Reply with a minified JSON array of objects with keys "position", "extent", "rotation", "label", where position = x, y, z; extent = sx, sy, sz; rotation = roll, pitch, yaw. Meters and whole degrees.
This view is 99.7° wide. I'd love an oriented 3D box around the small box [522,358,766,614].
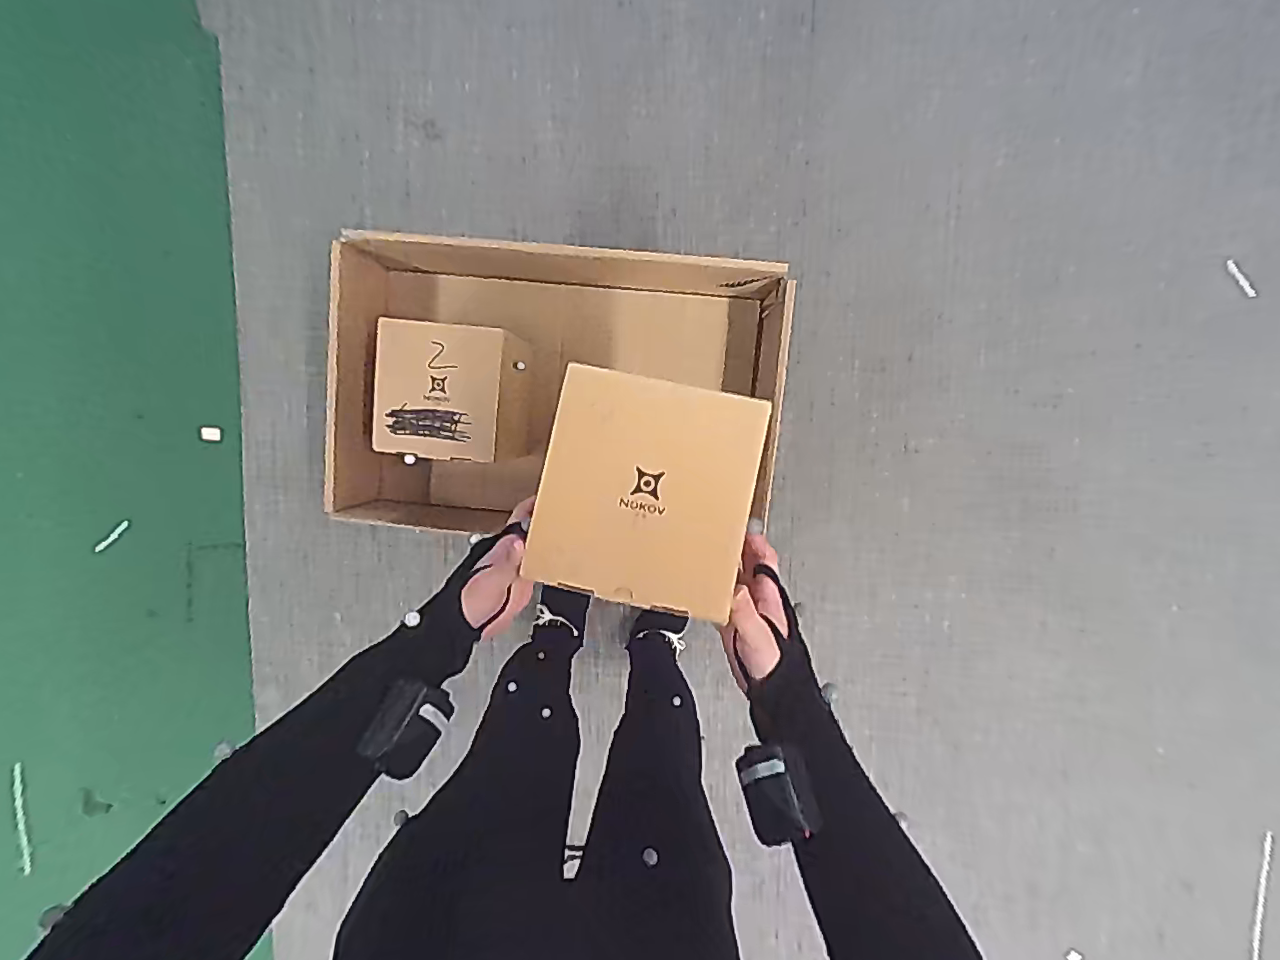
[{"position":[0.007,0.008,0.500],"extent":[0.168,0.176,0.179],"rotation":[11,87,4],"label":"small box"}]
